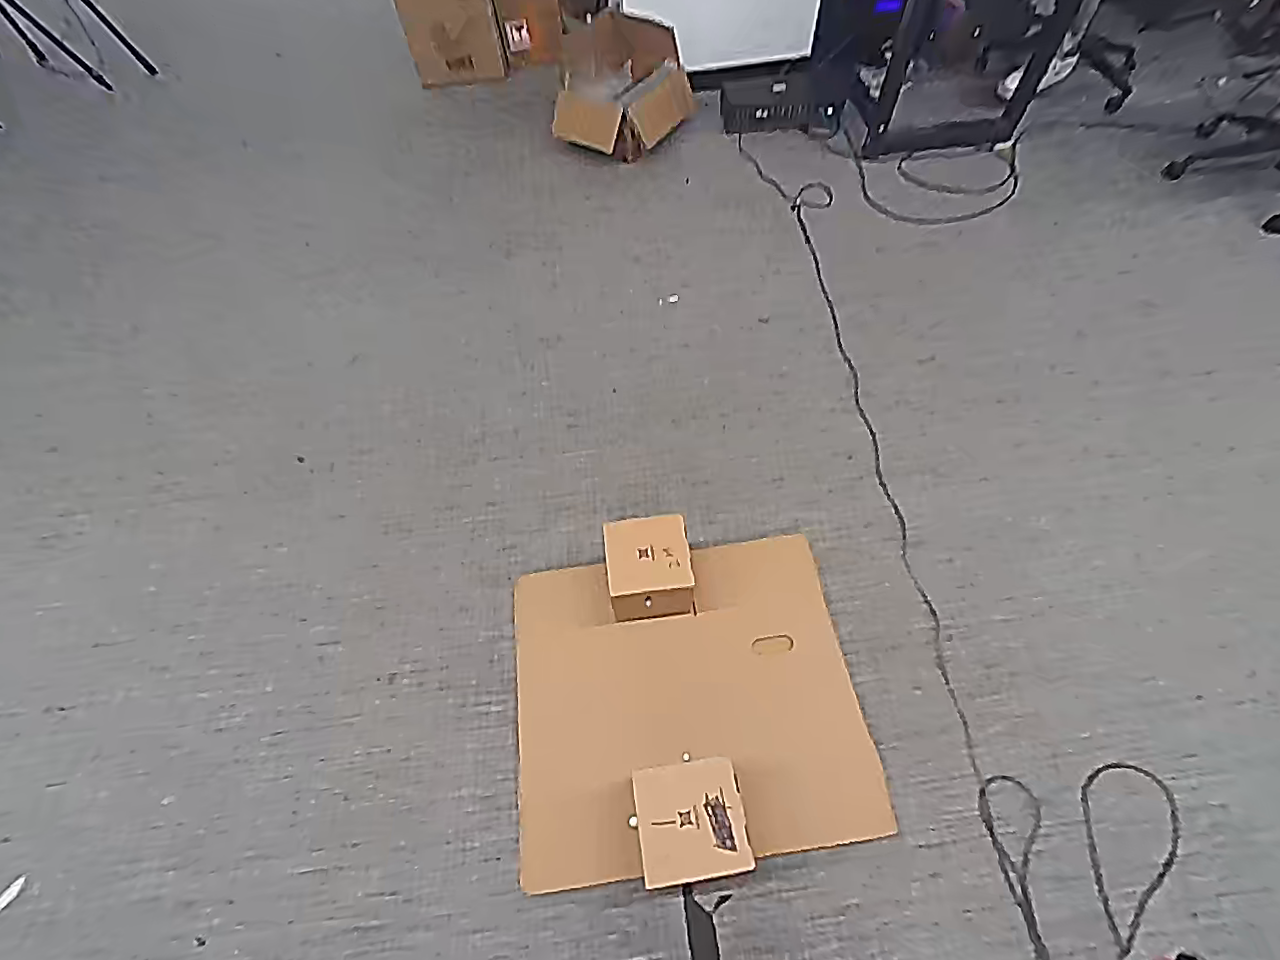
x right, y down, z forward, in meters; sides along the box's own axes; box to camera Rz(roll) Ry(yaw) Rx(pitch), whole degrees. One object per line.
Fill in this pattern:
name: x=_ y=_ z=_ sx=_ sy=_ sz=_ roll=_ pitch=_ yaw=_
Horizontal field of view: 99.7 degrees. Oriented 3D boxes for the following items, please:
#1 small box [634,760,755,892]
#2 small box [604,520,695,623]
small box: x=0.087 y=0.599 z=0.953 sx=0.179 sy=0.176 sz=0.168 roll=-9 pitch=60 yaw=-3
small box: x=0.020 y=0.206 z=1.188 sx=0.179 sy=0.176 sz=0.168 roll=-6 pitch=59 yaw=-2
